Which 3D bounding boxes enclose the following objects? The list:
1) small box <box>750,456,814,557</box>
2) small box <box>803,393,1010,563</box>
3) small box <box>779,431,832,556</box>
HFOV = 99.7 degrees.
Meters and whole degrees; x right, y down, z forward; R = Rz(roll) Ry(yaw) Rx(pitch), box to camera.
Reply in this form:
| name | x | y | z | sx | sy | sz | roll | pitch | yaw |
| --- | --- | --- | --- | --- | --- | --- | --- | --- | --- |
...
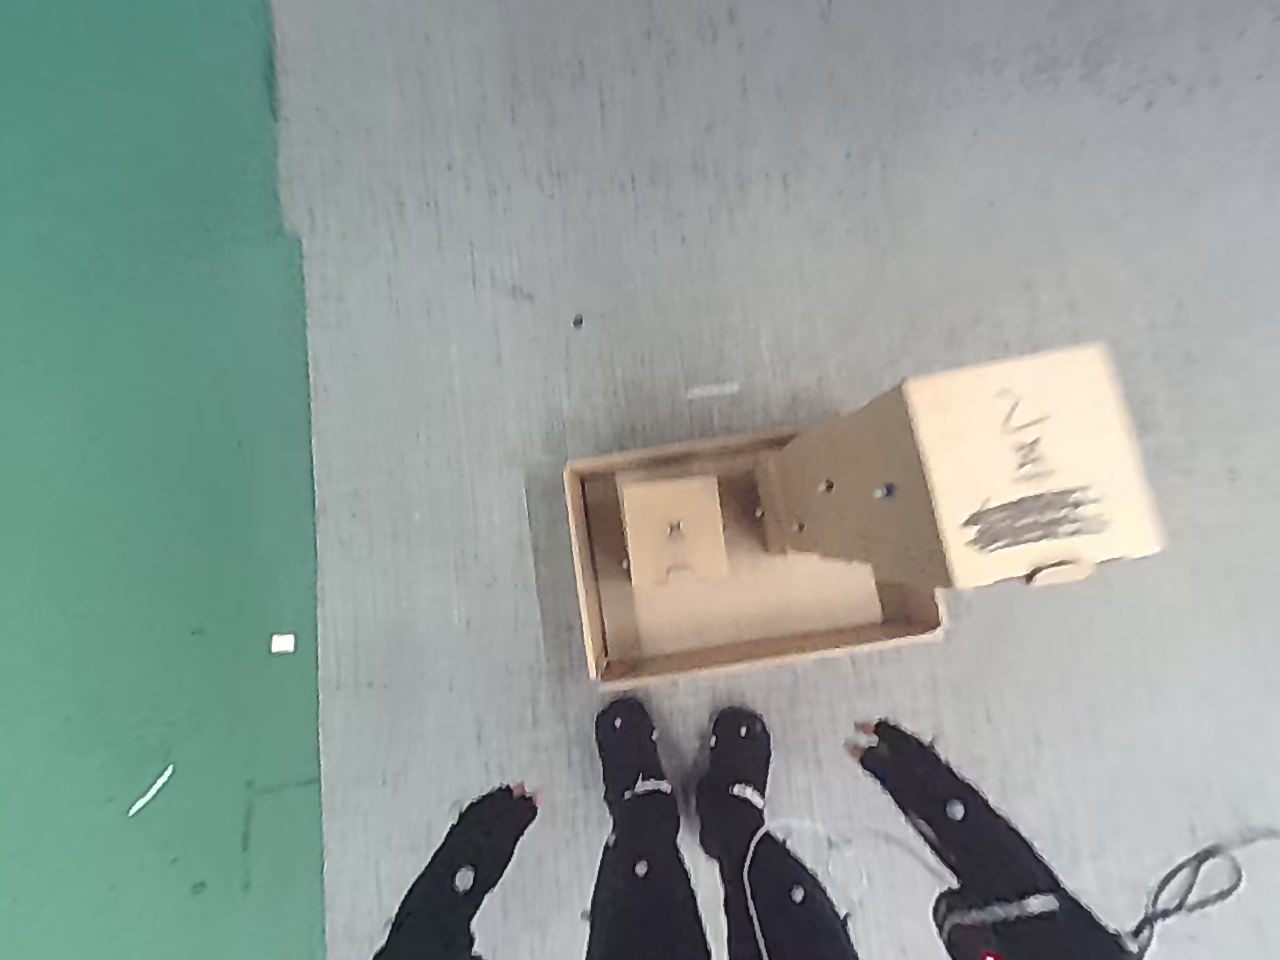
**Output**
| name | x | y | z | sx | sy | sz | roll | pitch | yaw |
| --- | --- | --- | --- | --- | --- | --- | --- | --- | --- |
| small box | 0.313 | 0.040 | 1.006 | 0.168 | 0.176 | 0.179 | -13 | 83 | 2 |
| small box | 0.316 | 0.005 | 0.679 | 0.168 | 0.176 | 0.179 | -8 | 83 | 0 |
| small box | 0.321 | 0.016 | 0.826 | 0.168 | 0.176 | 0.179 | -9 | 83 | 1 |
